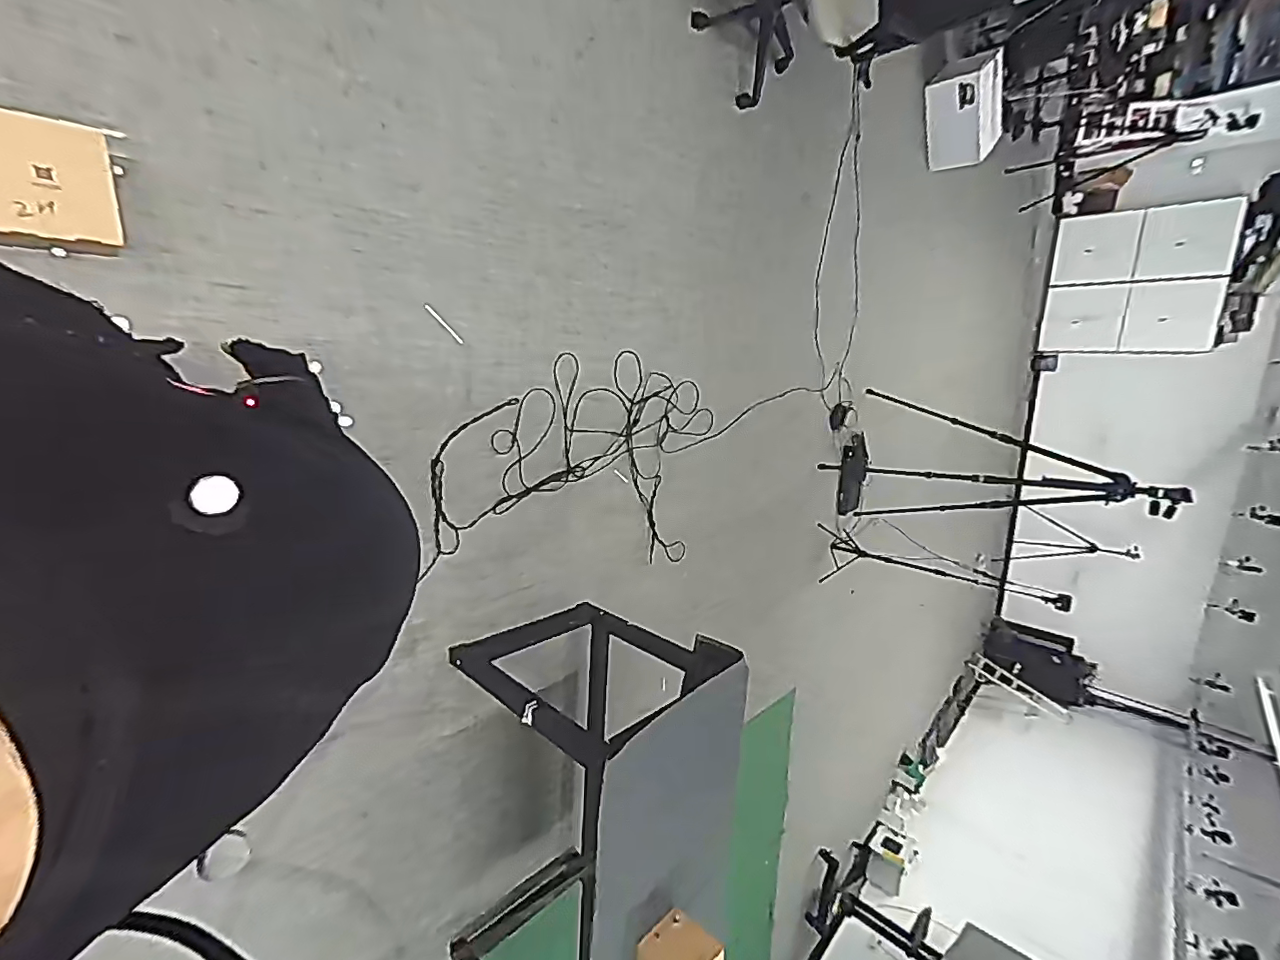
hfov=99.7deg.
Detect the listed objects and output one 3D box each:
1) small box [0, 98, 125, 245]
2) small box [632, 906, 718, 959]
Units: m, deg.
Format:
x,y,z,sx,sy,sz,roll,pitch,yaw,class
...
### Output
x,y,z,sx,sy,sz,roll,pitch,yaw,class
-0.998,-0.509,0.907,0.168,0.176,0.179,-12,109,-44,small box
0.087,1.298,1.448,0.168,0.176,0.179,-6,105,-46,small box
